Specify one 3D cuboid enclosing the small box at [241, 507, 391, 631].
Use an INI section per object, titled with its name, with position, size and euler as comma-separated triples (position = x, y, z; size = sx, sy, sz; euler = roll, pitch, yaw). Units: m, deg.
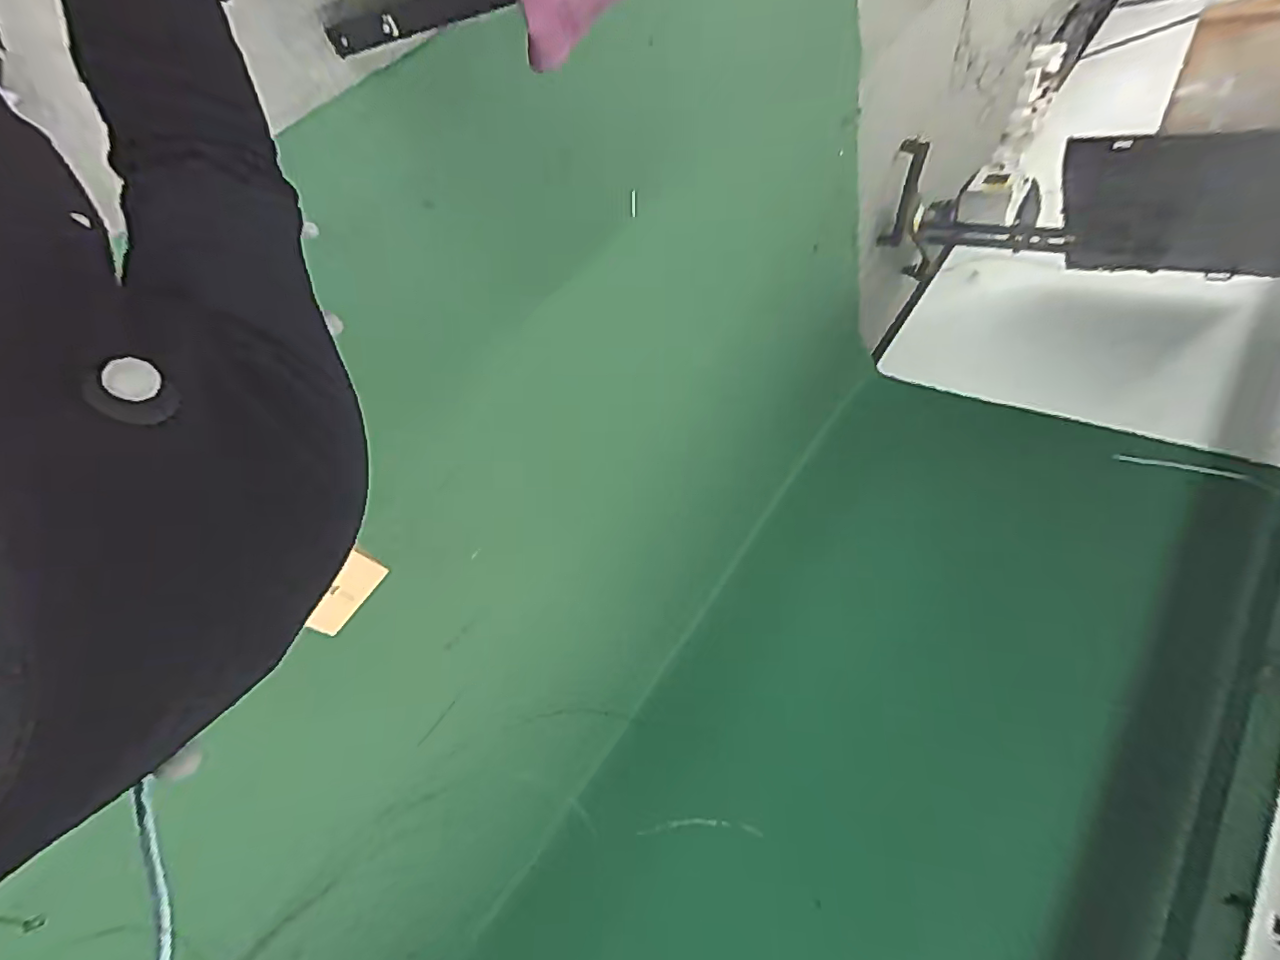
[small box]
position = -0.664, 0.175, 1.108
size = 0.168, 0.176, 0.179
euler = -53, 144, -15
